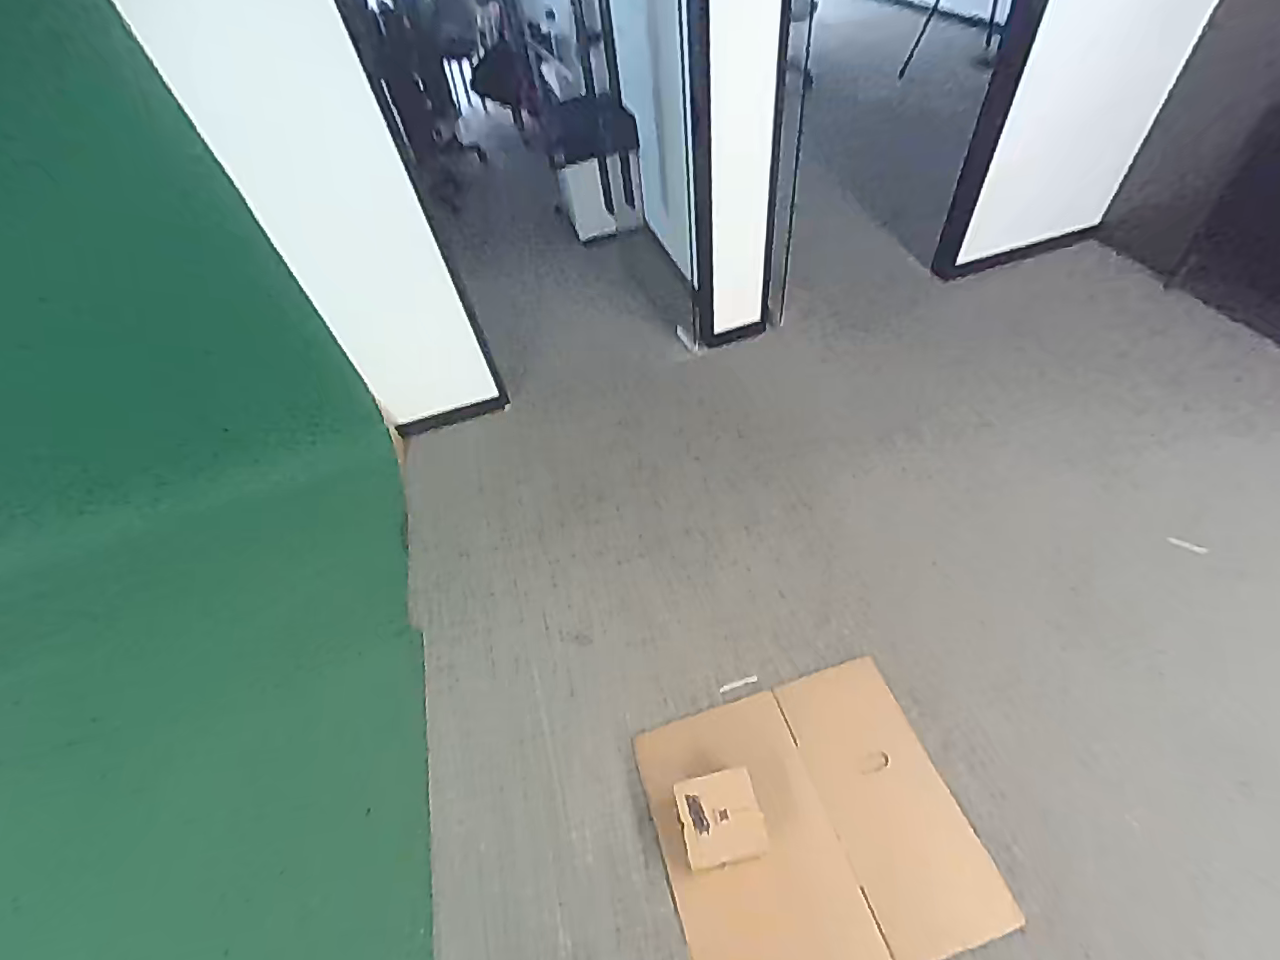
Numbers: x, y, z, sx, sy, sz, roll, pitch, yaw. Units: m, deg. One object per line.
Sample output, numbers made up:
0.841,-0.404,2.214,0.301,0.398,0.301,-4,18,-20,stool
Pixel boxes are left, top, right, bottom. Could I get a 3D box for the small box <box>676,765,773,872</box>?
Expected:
0.191,0.777,1.237,0.179,0.176,0.168,-13,50,-2,small box
